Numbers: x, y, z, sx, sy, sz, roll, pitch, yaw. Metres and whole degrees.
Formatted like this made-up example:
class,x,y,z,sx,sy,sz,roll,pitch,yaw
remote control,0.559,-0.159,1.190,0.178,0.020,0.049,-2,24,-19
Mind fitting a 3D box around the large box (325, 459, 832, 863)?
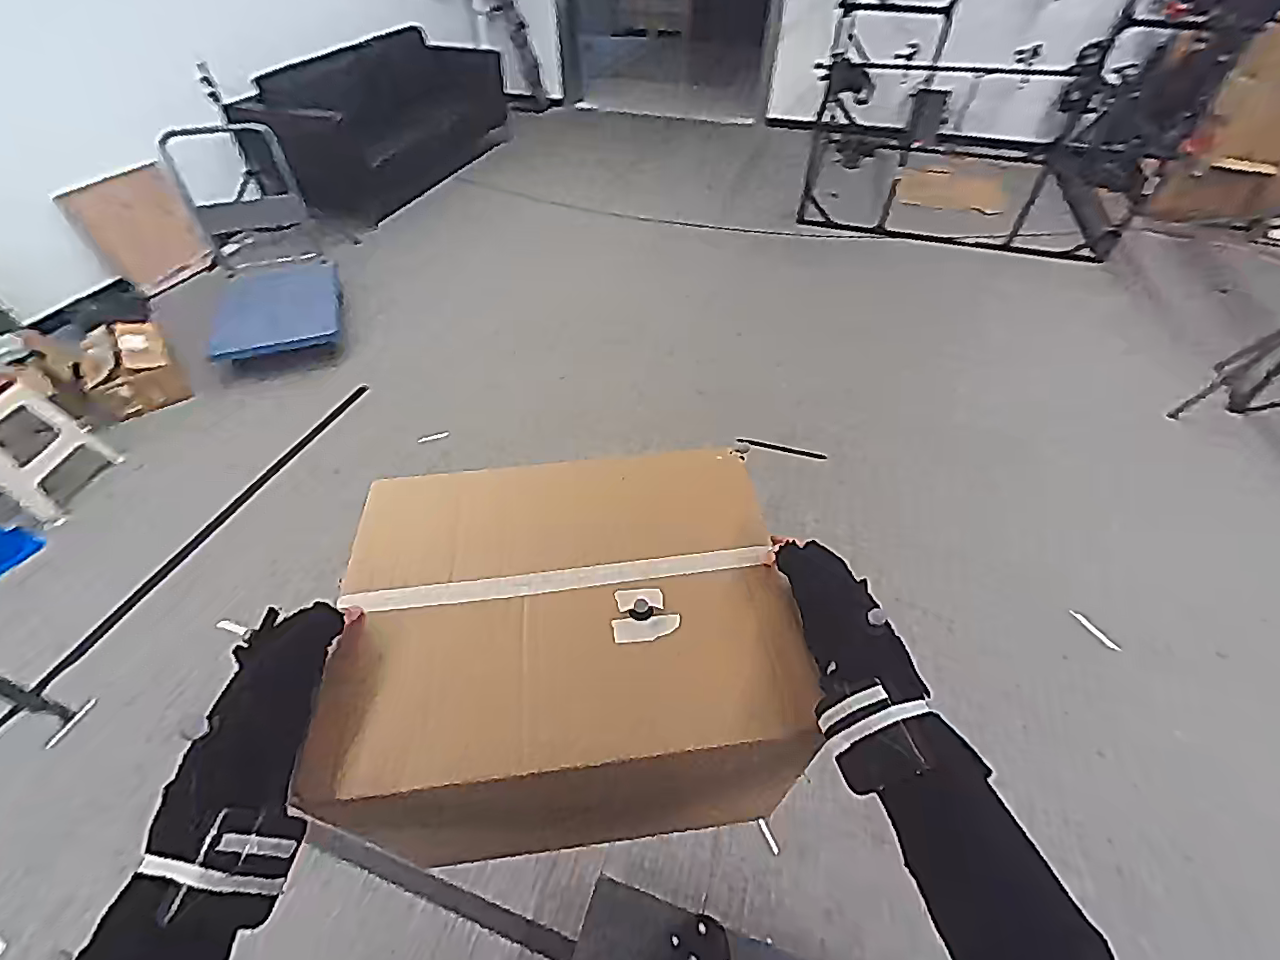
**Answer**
class,x,y,z,sx,sy,sz,roll,pitch,yaw
large box,-0.059,0.206,0.625,0.408,0.320,0.320,-5,47,-4
